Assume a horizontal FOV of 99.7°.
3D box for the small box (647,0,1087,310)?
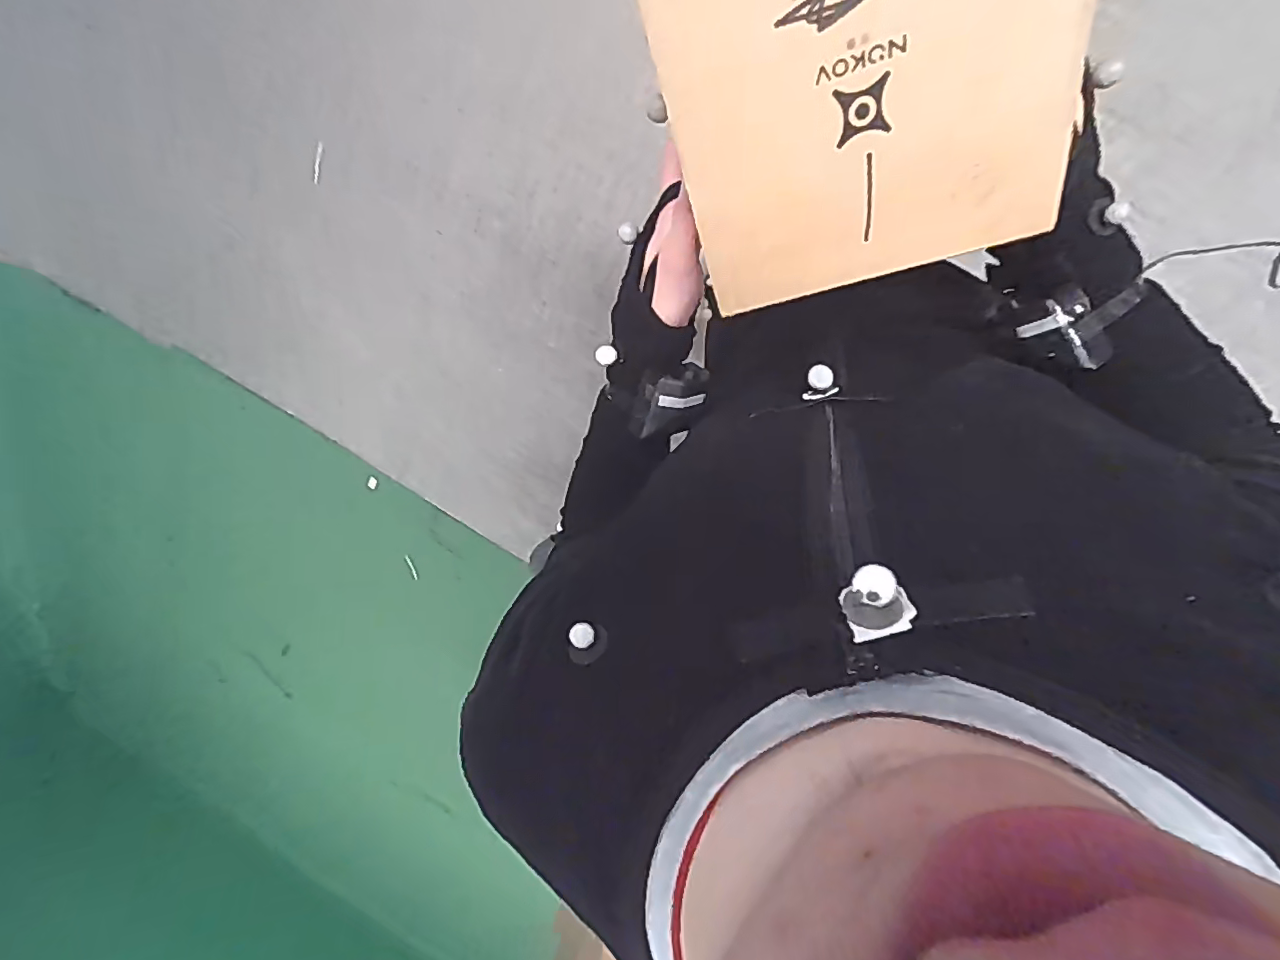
[{"bbox_3d":[0.101,-0.225,0.288,0.168,0.176,0.179,-10,134,16],"label":"small box"}]
